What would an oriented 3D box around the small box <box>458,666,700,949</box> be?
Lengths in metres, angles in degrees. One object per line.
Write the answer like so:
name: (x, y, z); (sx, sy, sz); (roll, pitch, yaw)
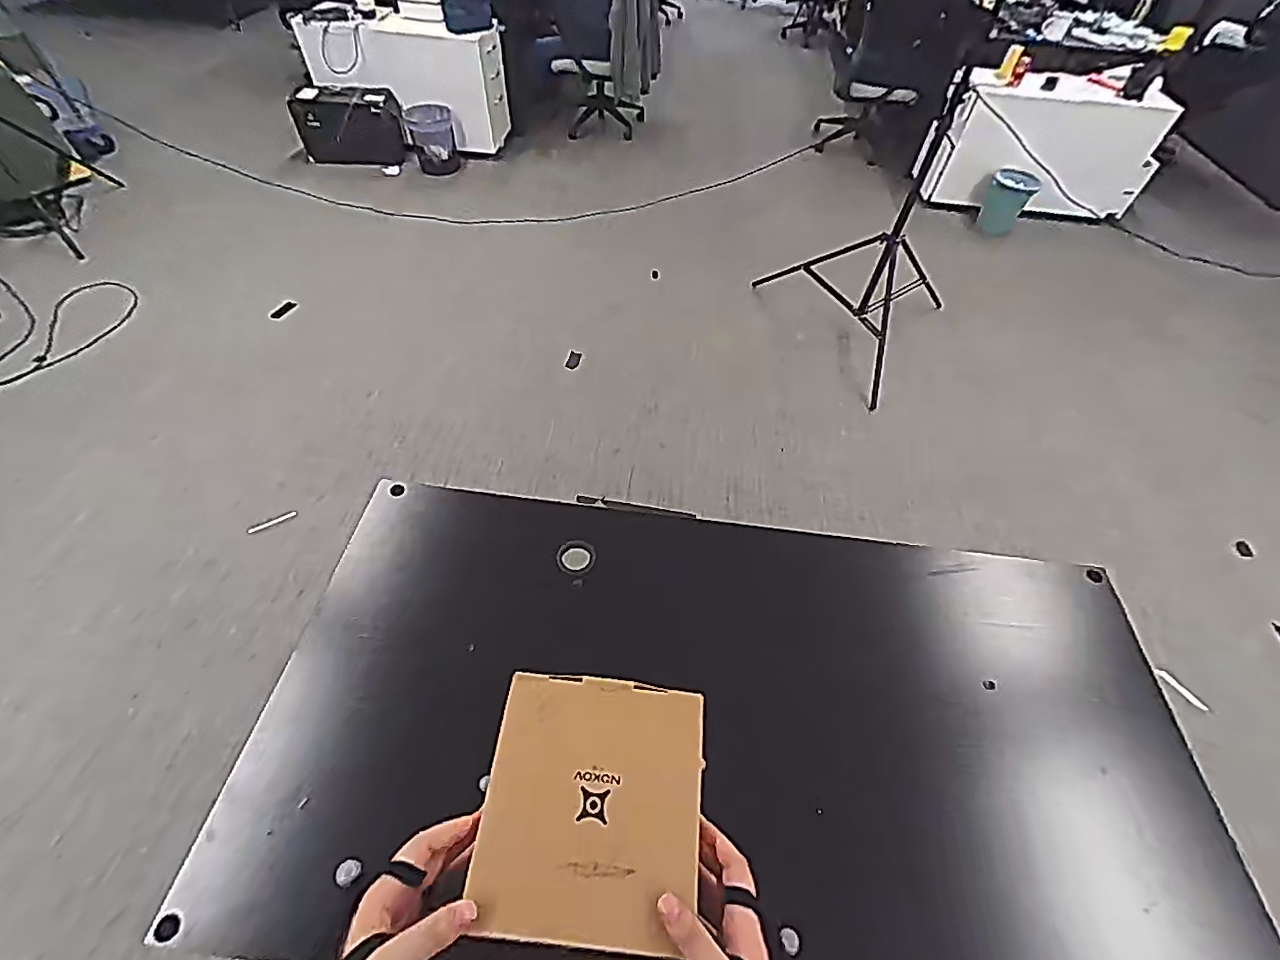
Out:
small box: (-0.043, 0.287, 0.485); (0.168, 0.176, 0.179); (7, 55, 0)
